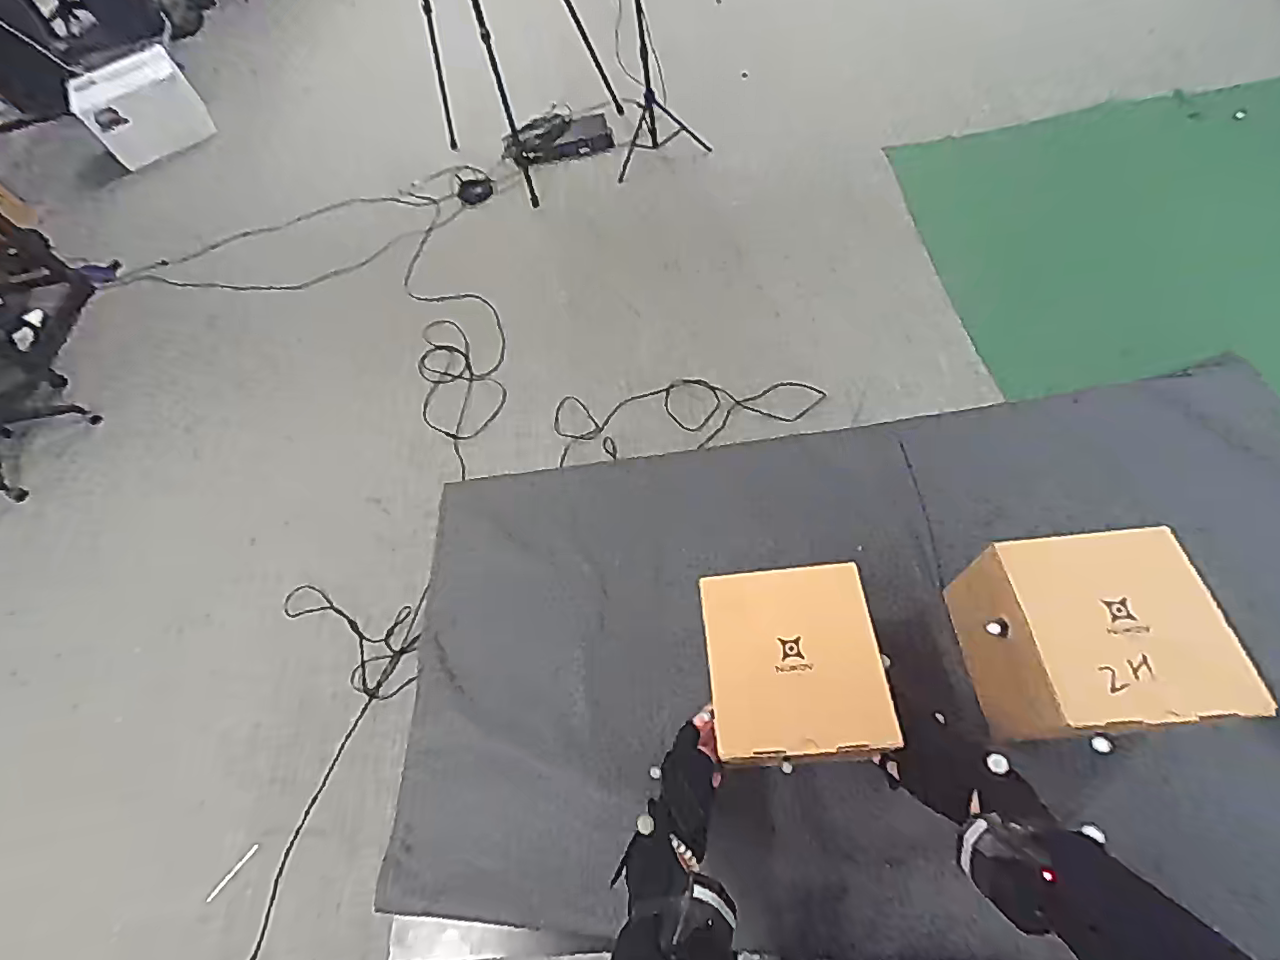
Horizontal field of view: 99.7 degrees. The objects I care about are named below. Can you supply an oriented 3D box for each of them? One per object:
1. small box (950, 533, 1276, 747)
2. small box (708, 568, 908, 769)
[{"bbox_3d":[0.459,0.175,0.570,0.168,0.176,0.179,-6,59,6],"label":"small box"},{"bbox_3d":[0.165,0.214,0.599,0.168,0.176,0.179,-7,60,5],"label":"small box"}]
